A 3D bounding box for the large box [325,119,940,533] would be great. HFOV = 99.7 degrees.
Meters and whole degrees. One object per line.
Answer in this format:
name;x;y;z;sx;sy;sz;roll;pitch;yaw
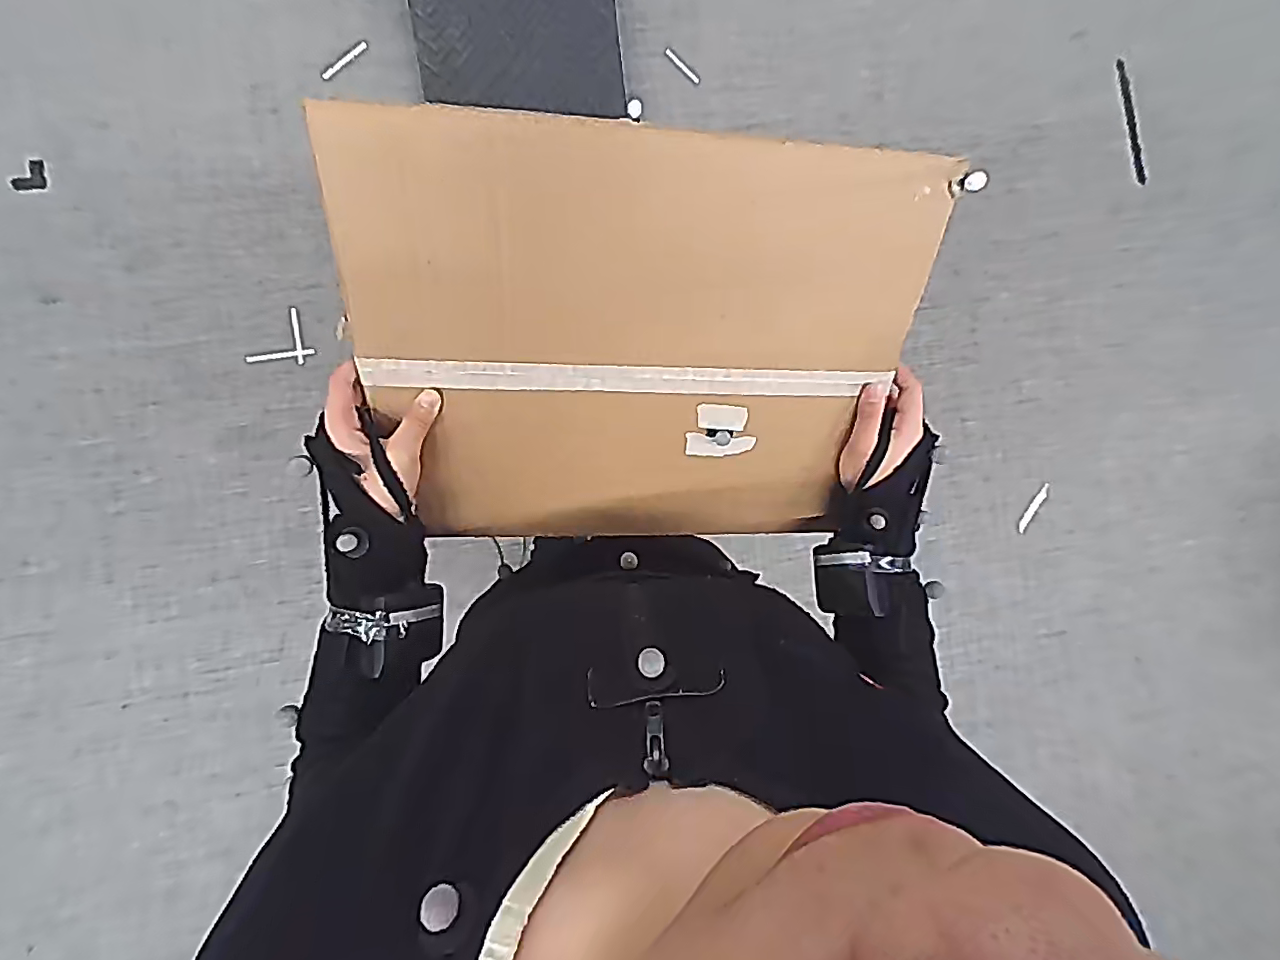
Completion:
large box;-0.019;-0.169;0.545;0.408;0.320;0.320;-1;125;-9
